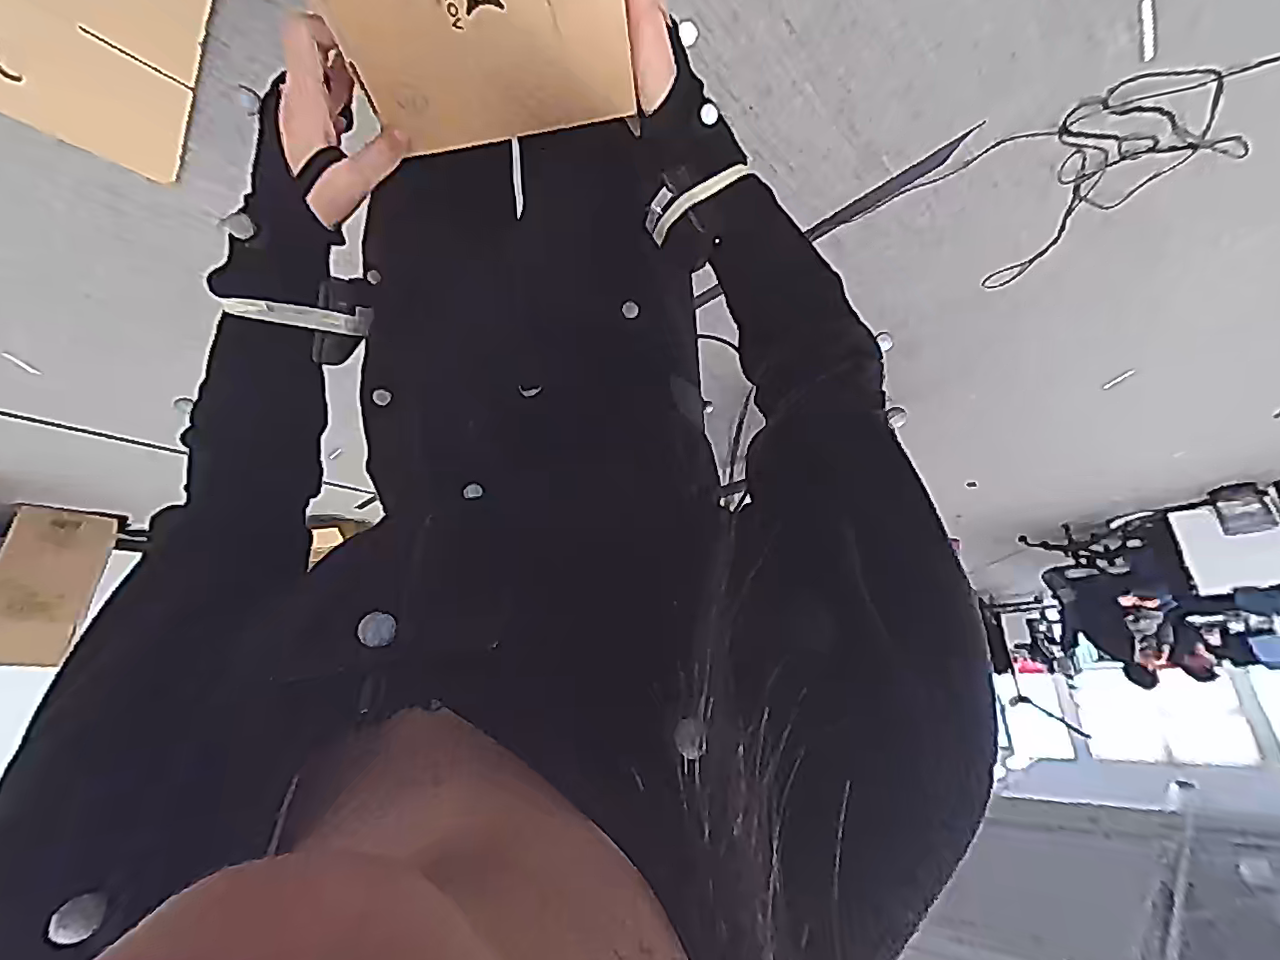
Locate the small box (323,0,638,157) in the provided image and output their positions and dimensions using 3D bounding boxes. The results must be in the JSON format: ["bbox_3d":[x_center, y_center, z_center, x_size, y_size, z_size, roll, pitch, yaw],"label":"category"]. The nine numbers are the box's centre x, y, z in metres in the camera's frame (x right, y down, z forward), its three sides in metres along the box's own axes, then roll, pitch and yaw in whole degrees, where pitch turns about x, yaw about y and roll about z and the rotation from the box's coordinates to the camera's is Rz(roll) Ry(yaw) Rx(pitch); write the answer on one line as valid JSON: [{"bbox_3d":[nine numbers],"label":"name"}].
[{"bbox_3d":[-0.106,-0.352,0.352,0.179,0.176,0.168,-11,150,2],"label":"small box"}]

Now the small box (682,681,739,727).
[{"bbox_3d":[0.291,0.930,2.255,0.168,0.176,0.179,-20,153,35],"label":"small box"}]
